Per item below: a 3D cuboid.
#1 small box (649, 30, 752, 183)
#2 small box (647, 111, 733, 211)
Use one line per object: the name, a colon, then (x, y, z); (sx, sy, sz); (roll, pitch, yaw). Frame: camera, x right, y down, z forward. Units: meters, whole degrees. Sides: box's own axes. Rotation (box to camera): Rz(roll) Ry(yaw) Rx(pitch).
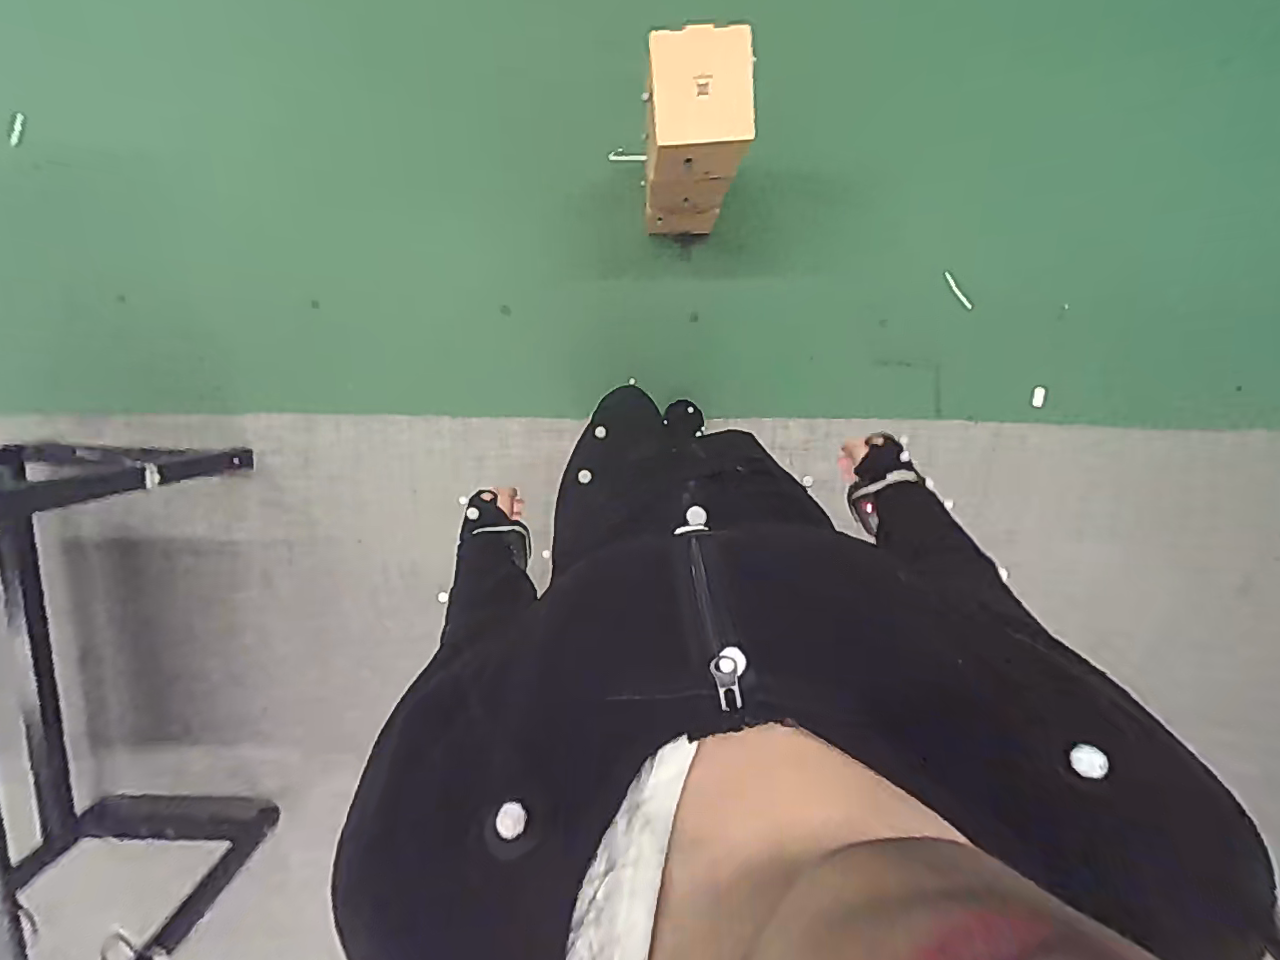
small box: (0.103, -0.655, 0.974); (0.168, 0.176, 0.179); (-4, 98, 0)
small box: (0.101, -0.684, 1.134); (0.168, 0.176, 0.179); (-1, 99, 0)
